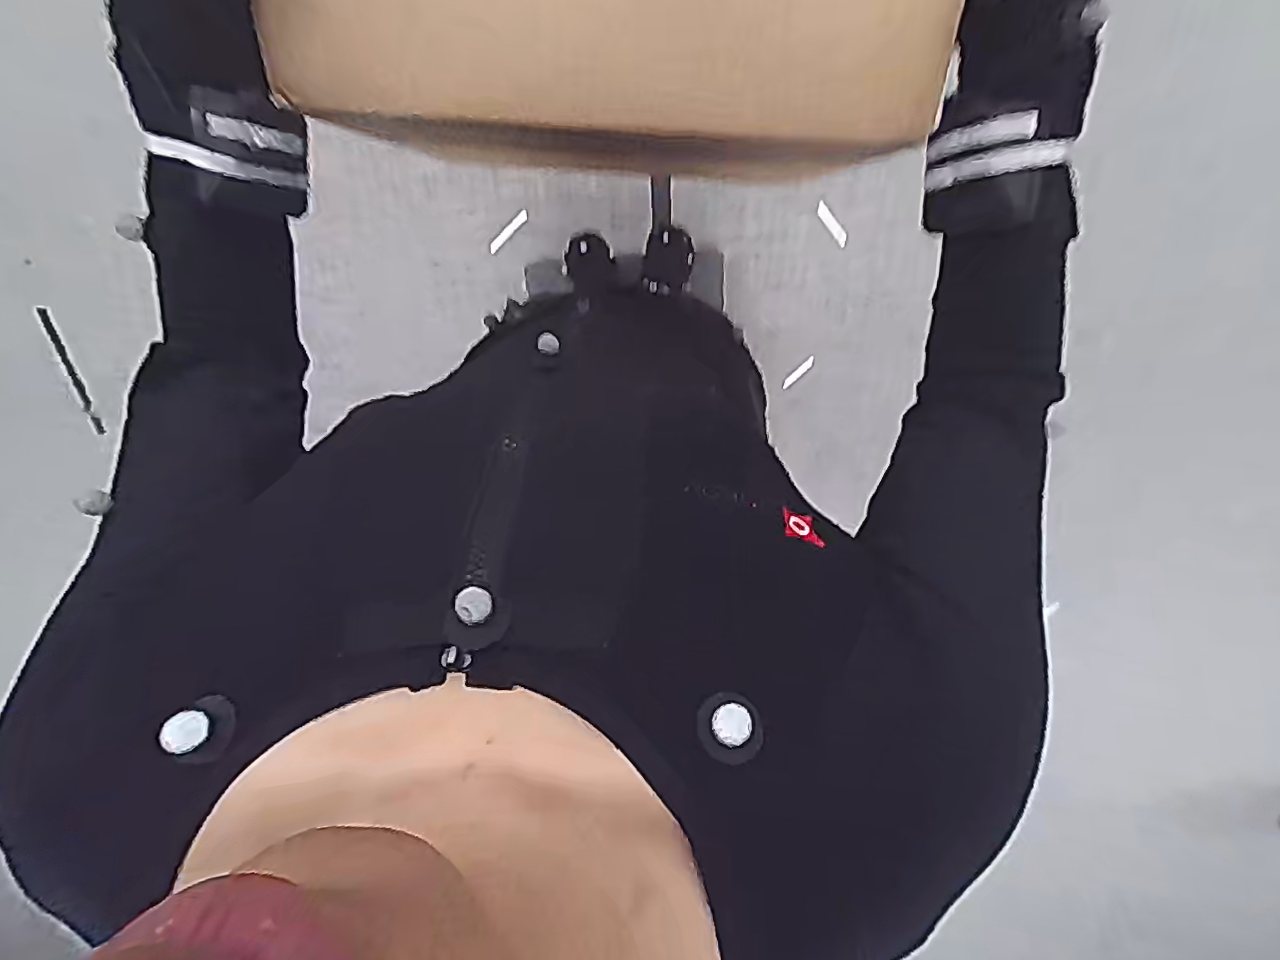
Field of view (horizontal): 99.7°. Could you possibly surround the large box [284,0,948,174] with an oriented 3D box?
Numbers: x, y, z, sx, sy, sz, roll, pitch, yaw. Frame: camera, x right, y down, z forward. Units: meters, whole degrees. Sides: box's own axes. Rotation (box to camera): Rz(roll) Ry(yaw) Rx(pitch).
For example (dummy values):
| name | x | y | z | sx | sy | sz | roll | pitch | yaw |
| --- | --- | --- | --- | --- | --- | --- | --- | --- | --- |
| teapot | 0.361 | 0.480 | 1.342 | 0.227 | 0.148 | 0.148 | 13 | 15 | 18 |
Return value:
| name | x | y | z | sx | sy | sz | roll | pitch | yaw |
| --- | --- | --- | --- | --- | --- | --- | --- | --- | --- |
| large box | -0.011 | -0.432 | 0.418 | 0.408 | 0.320 | 0.320 | 3 | 116 | -1 |
